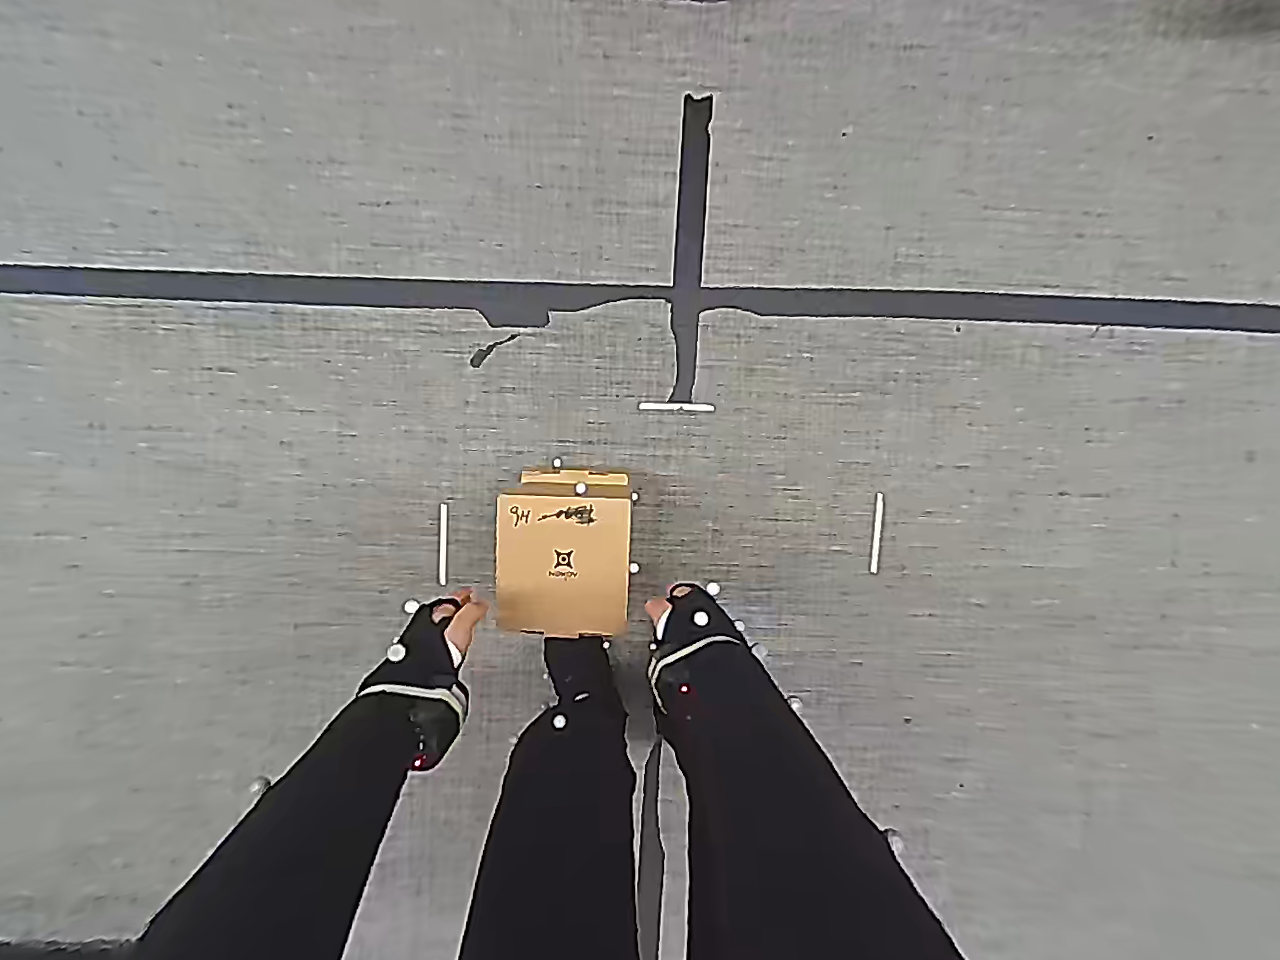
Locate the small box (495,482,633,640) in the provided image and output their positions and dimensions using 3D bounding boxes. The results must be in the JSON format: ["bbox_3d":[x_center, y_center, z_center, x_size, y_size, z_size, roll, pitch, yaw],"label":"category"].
[{"bbox_3d":[-0.096,0.102,0.743,0.168,0.176,0.179,2,96,-1],"label":"small box"}]

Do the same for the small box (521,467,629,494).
[{"bbox_3d":[-0.103,0.071,0.905,0.168,0.176,0.179,1,96,-1],"label":"small box"}]
